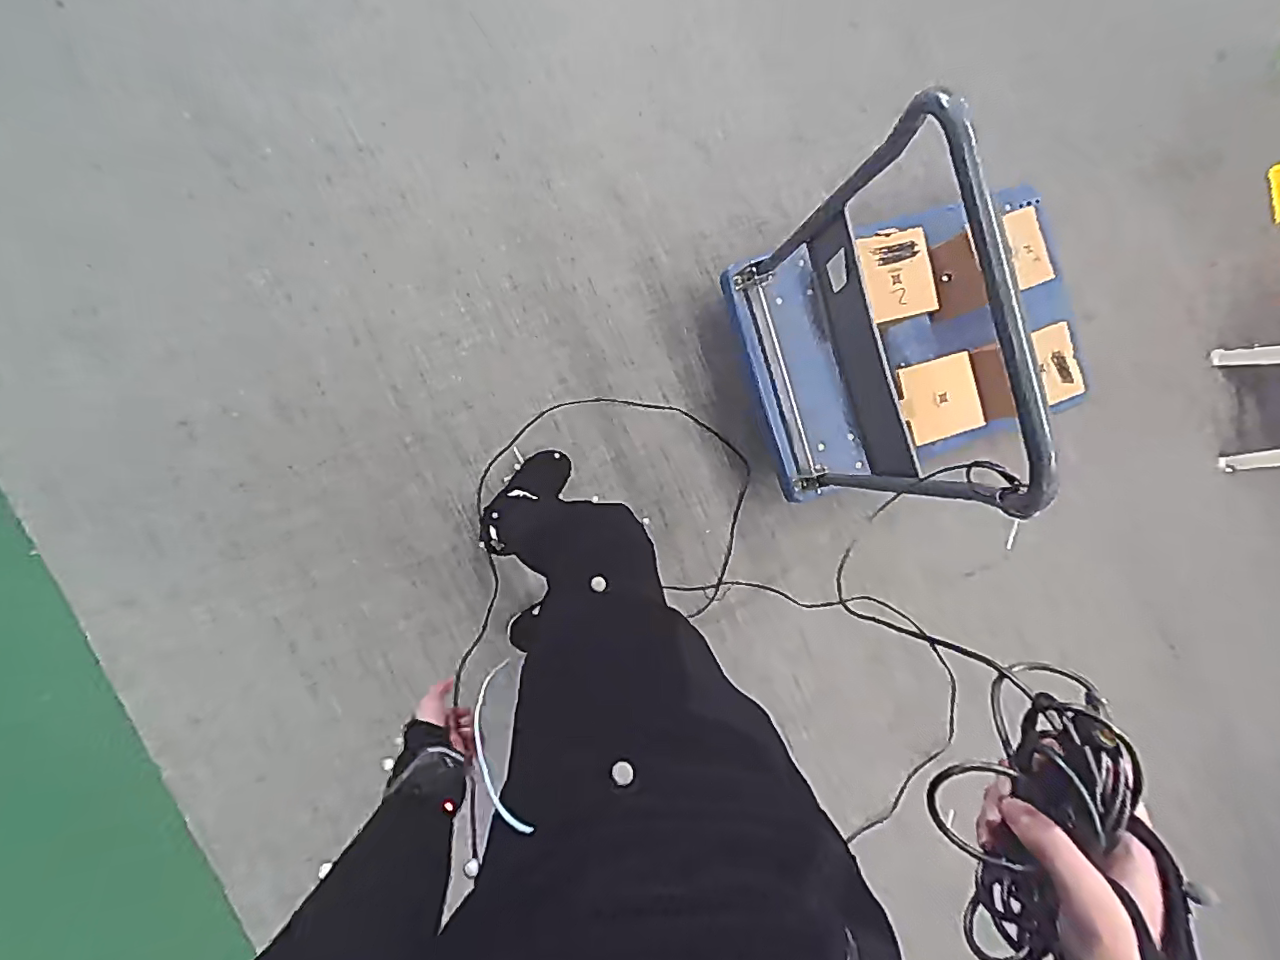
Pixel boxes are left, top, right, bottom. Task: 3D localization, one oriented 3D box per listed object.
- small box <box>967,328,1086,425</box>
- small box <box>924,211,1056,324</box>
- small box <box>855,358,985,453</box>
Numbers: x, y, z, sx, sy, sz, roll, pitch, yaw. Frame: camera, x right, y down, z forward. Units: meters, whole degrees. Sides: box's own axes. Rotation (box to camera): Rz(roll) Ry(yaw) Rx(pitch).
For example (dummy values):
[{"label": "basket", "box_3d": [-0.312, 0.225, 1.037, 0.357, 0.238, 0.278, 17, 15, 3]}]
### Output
[{"label": "small box", "box_3d": [0.863, -0.231, 1.249, 0.179, 0.176, 0.168, -19, 93, -9]}, {"label": "small box", "box_3d": [0.782, -0.474, 1.232, 0.179, 0.176, 0.168, -21, 95, -9]}, {"label": "small box", "box_3d": [0.618, -0.162, 1.209, 0.179, 0.176, 0.168, -16, 94, -9]}]
